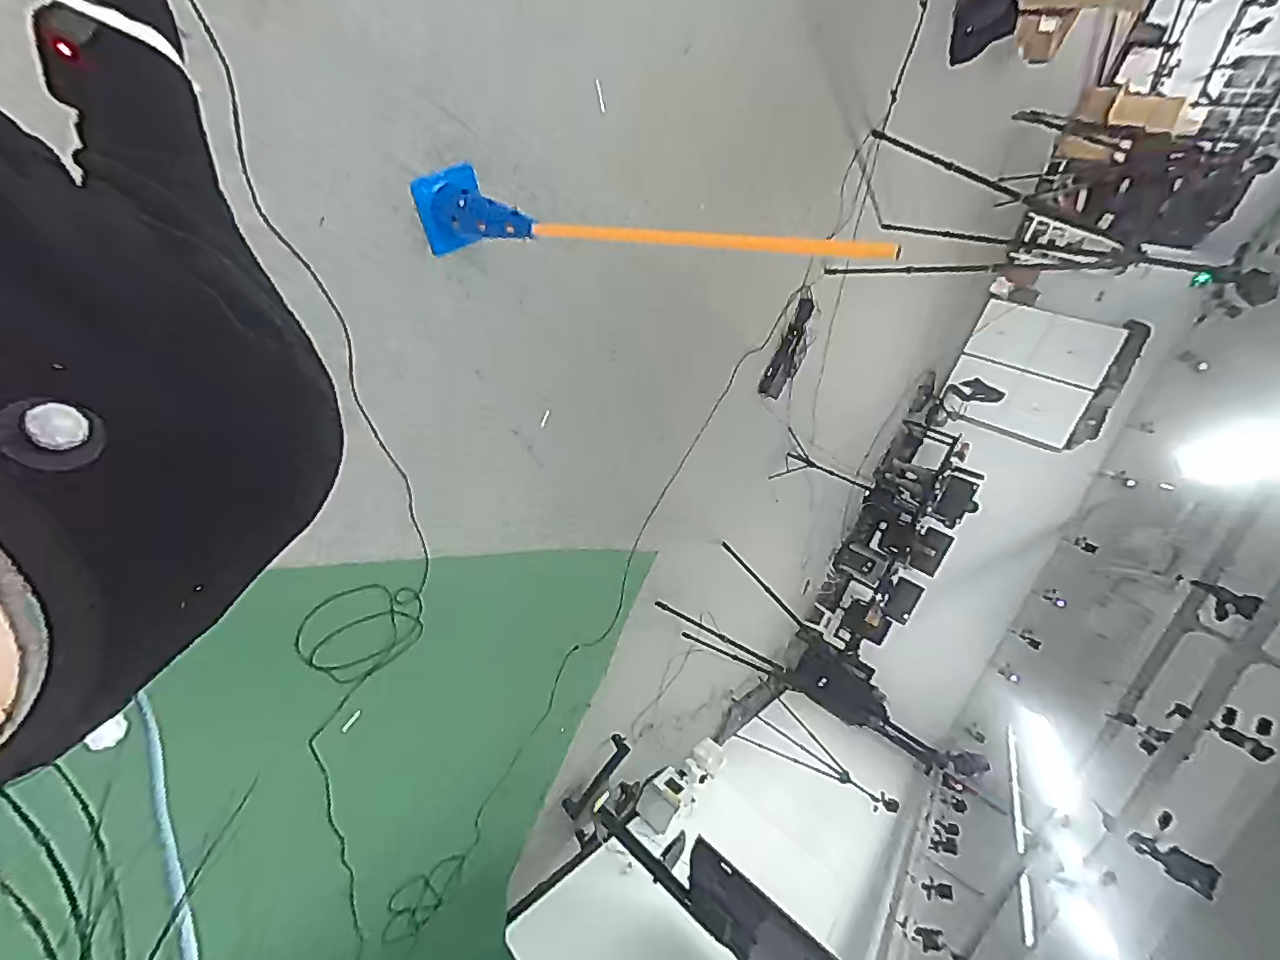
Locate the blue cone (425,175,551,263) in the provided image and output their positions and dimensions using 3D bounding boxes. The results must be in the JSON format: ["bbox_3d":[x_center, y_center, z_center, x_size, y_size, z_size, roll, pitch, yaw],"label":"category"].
[{"bbox_3d":[-0.373,-0.663,1.417,0.193,0.380,0.192,-43,144,-29],"label":"blue cone"}]
